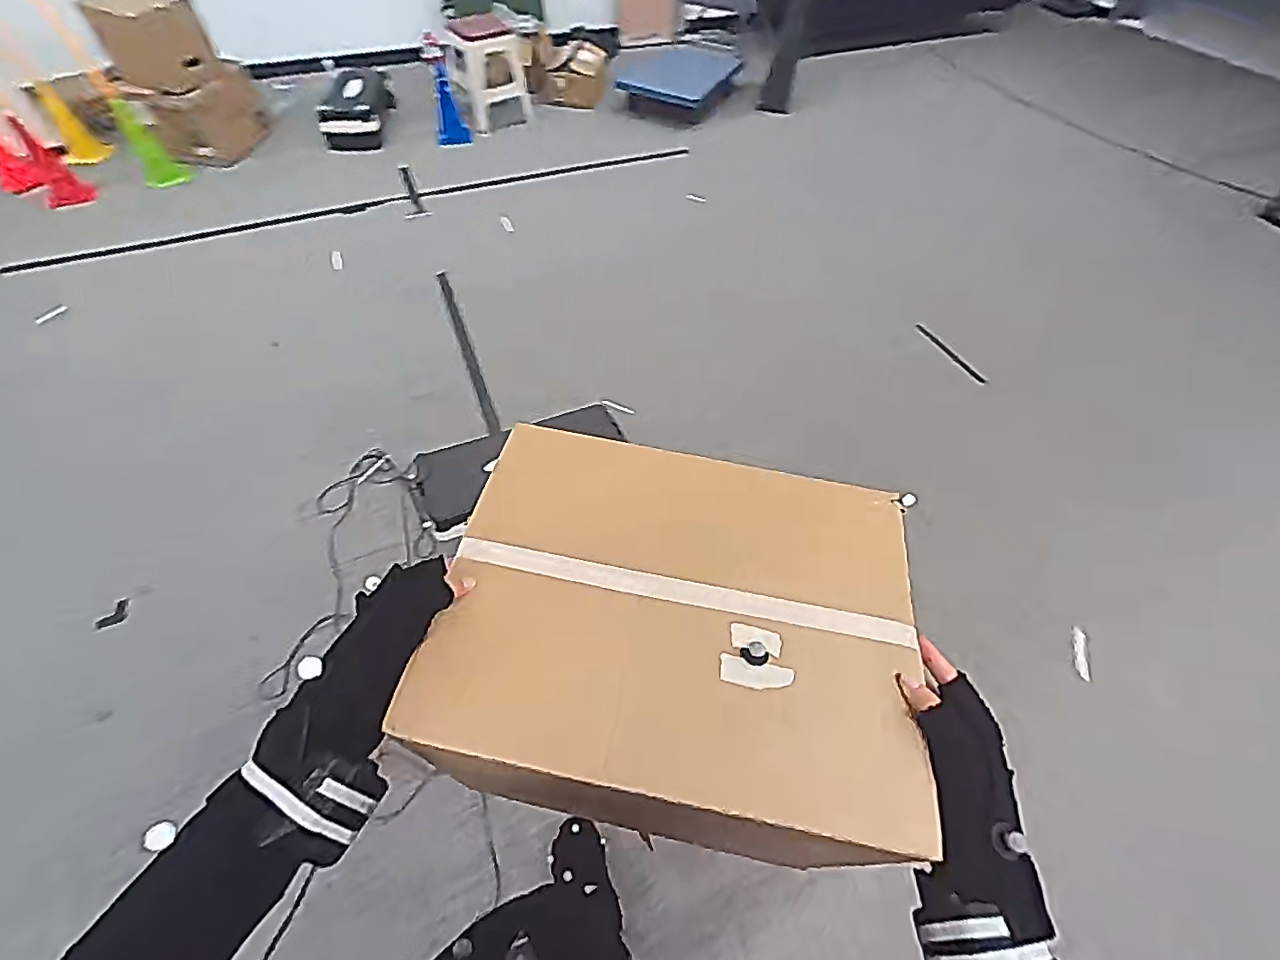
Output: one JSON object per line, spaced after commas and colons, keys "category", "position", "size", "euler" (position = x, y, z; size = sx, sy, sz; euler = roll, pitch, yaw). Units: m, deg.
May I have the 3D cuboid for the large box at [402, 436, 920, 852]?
{"category": "large box", "position": [0.024, 0.191, 0.609], "size": [0.408, 0.320, 0.320], "euler": [10, 54, 3]}
